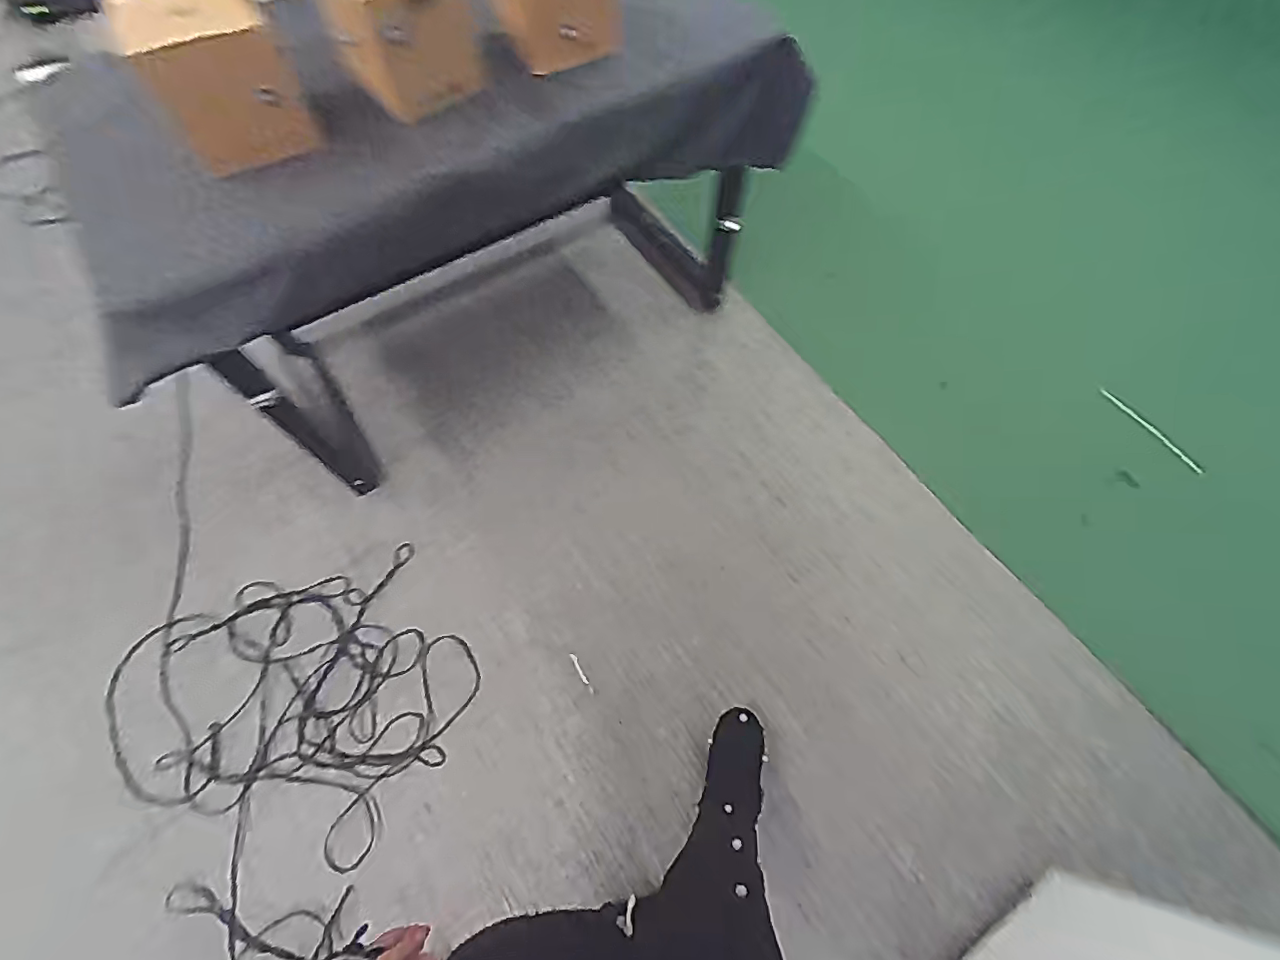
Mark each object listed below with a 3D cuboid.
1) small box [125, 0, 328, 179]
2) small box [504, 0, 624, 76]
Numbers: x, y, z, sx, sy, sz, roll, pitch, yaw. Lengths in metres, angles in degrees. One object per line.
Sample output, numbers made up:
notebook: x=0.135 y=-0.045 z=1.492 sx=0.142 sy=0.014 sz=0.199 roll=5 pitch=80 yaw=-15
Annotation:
small box: x=-0.595 y=-0.589 z=0.802 sx=0.179 sy=0.176 sz=0.168 roll=-26 pitch=66 yaw=-12
small box: x=-0.138 y=-0.842 z=0.930 sx=0.168 sy=0.176 sz=0.179 roll=-25 pitch=68 yaw=-12
